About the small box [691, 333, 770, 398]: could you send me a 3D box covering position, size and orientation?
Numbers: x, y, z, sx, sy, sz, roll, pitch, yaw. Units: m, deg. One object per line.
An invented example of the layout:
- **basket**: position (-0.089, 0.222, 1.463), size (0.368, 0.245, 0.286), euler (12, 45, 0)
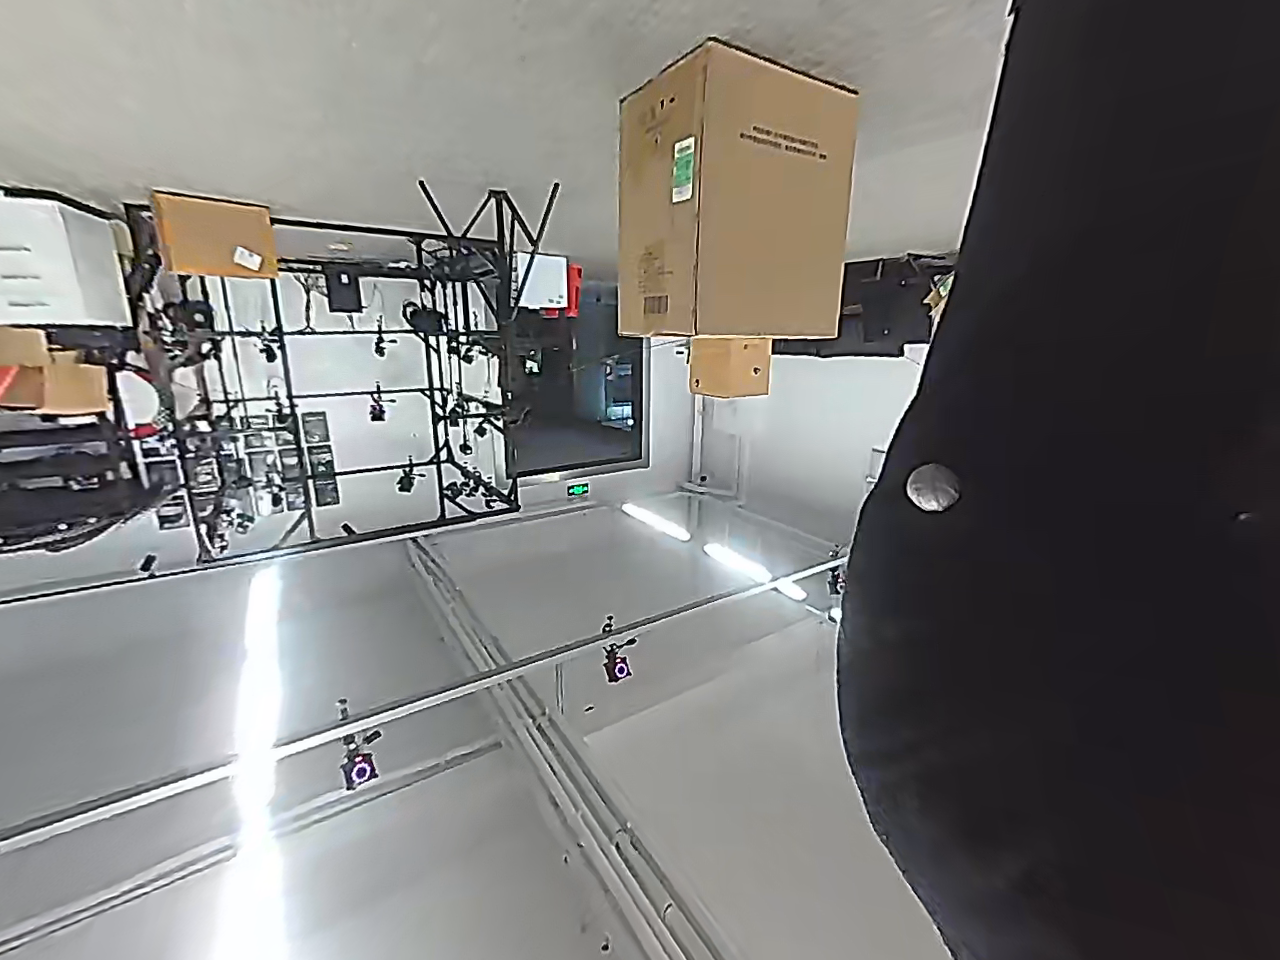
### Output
- **small box**: position (0.263, -0.338, 1.581), size (0.168, 0.176, 0.179), euler (-10, -161, -33)
